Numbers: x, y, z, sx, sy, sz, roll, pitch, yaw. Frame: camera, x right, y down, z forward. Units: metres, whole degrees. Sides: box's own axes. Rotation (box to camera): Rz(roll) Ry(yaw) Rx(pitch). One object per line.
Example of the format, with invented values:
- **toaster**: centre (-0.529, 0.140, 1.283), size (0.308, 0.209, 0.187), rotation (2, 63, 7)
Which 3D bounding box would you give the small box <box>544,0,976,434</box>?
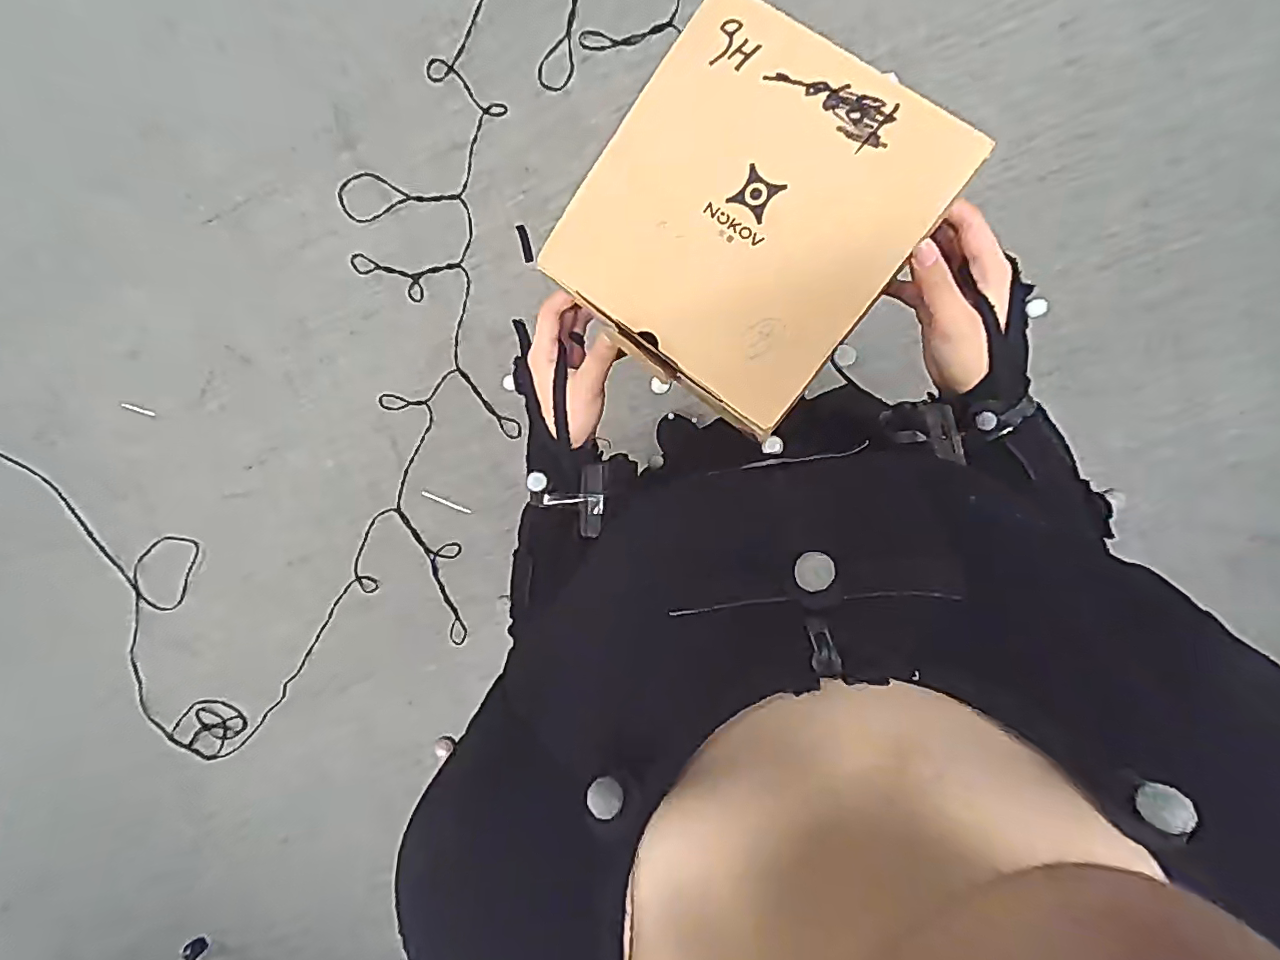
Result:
- **small box**: centre (0.073, -0.144, 0.368), size (0.168, 0.176, 0.179), rotation (39, 100, 8)
